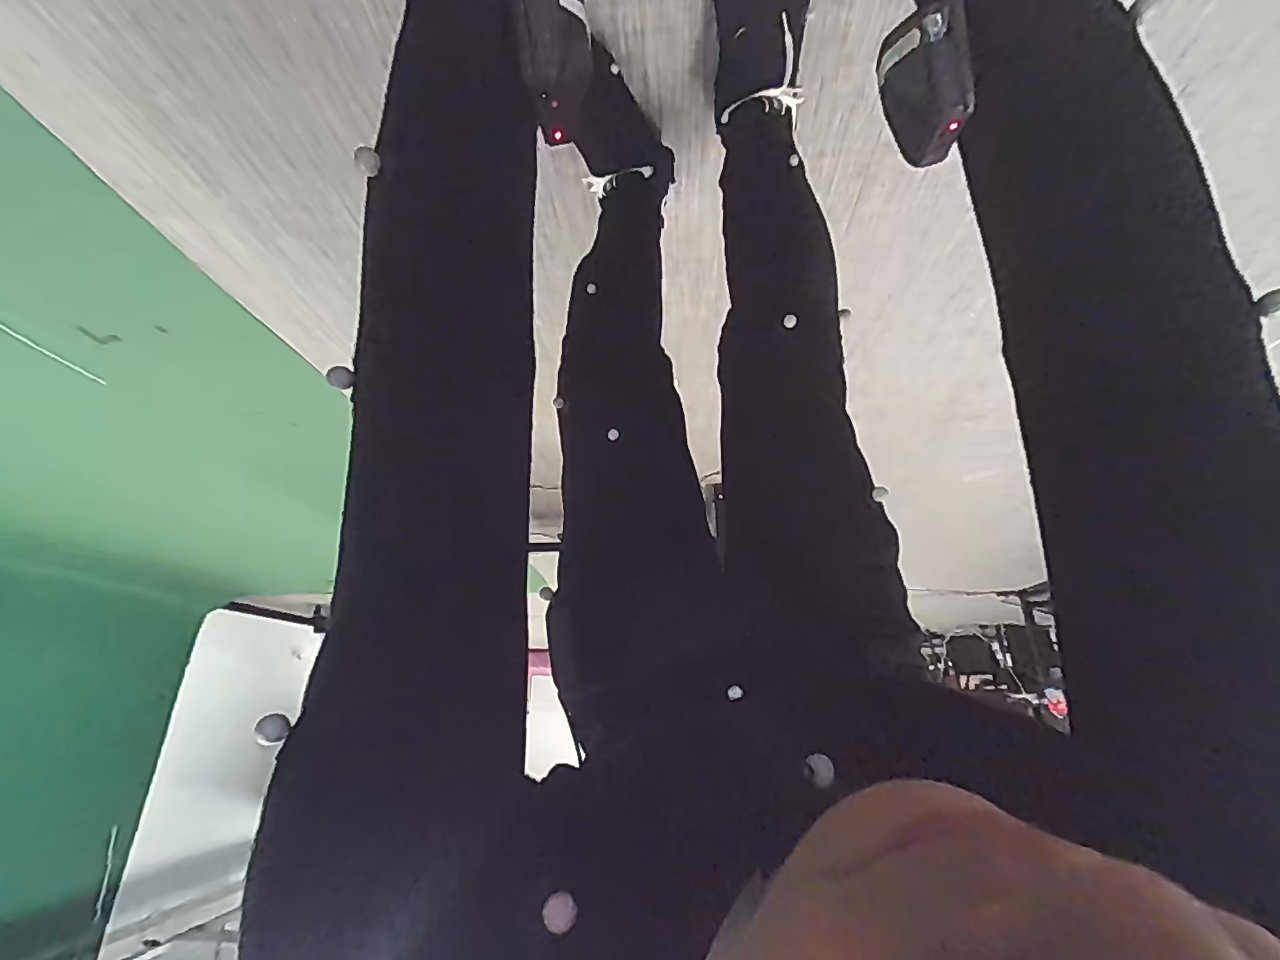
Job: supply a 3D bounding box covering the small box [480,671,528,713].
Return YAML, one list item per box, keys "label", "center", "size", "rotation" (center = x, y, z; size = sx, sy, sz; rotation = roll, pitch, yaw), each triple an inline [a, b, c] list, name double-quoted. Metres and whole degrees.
- label: "small box"
  center: [-0.602, 0.949, 2.420]
  size: [0.168, 0.176, 0.179]
  rotation: [-3, 157, 2]
